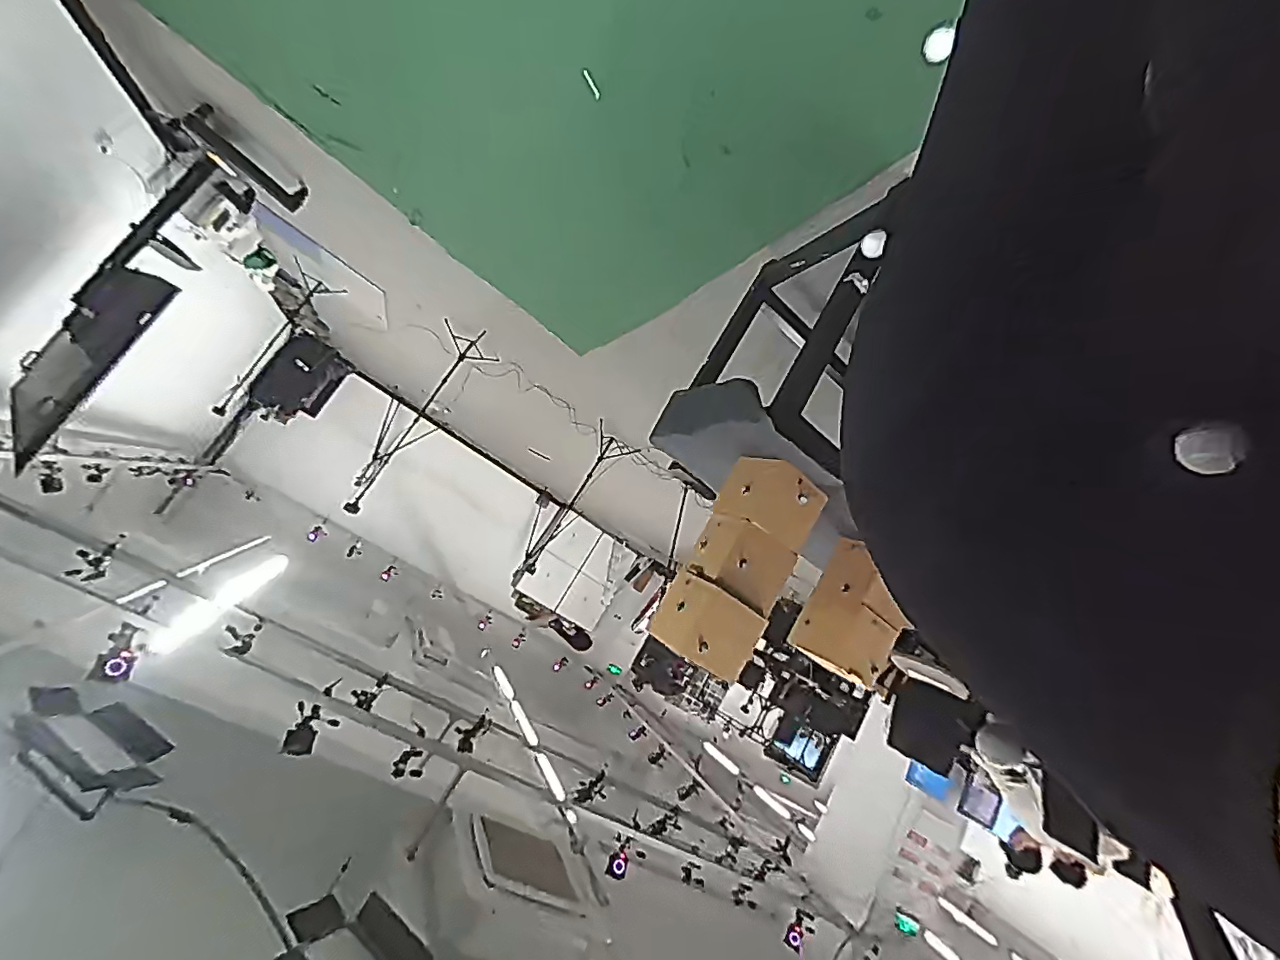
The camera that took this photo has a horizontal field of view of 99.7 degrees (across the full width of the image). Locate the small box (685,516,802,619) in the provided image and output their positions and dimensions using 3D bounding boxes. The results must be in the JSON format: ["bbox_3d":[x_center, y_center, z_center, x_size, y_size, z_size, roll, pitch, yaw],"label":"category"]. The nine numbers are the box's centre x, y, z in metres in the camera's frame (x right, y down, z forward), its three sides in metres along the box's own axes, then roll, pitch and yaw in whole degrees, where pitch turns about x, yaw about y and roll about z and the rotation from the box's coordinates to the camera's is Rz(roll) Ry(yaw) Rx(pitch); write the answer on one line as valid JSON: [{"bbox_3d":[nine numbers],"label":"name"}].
[{"bbox_3d":[0.245,0.199,1.284,0.179,0.176,0.168,33,171,-18],"label":"small box"}]

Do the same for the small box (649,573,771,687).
[{"bbox_3d":[0.159,0.332,1.230,0.179,0.176,0.168,35,170,-23],"label":"small box"}]

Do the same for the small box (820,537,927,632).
[{"bbox_3d":[0.629,0.275,1.452,0.179,0.176,0.168,35,168,-22],"label":"small box"}]

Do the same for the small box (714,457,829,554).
[{"bbox_3d":[0.319,0.057,1.310,0.168,0.176,0.179,36,168,-26],"label":"small box"}]
